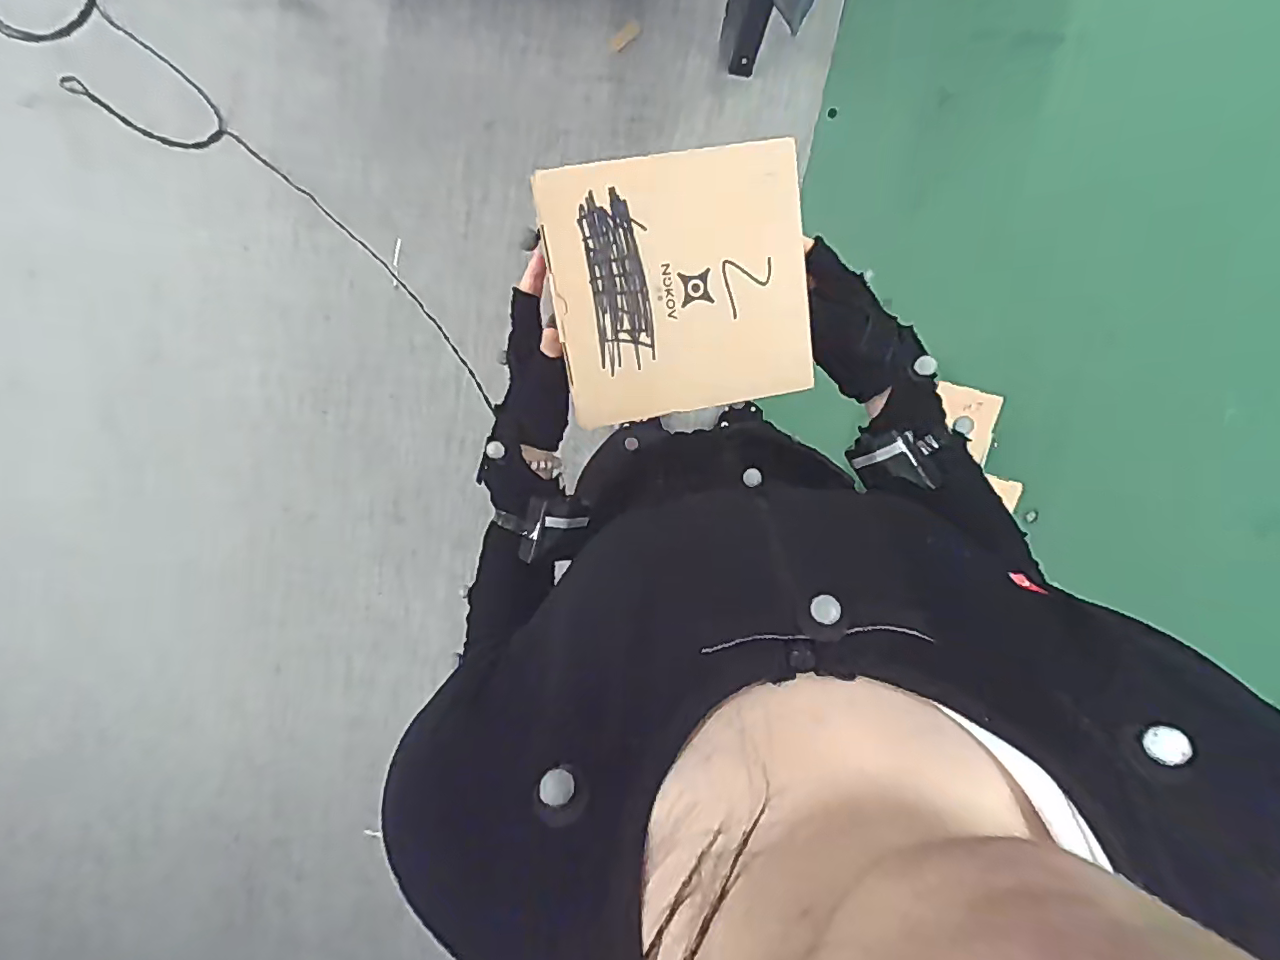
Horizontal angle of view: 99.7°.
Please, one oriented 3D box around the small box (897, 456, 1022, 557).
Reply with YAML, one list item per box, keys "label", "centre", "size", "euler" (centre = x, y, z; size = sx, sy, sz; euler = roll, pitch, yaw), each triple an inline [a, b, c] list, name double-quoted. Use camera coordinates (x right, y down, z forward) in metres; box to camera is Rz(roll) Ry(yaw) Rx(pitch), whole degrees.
- label: "small box"
  centre: [0.727, 0.054, 1.256]
  size: [0.168, 0.176, 0.179]
  euler: [16, 99, -1]
